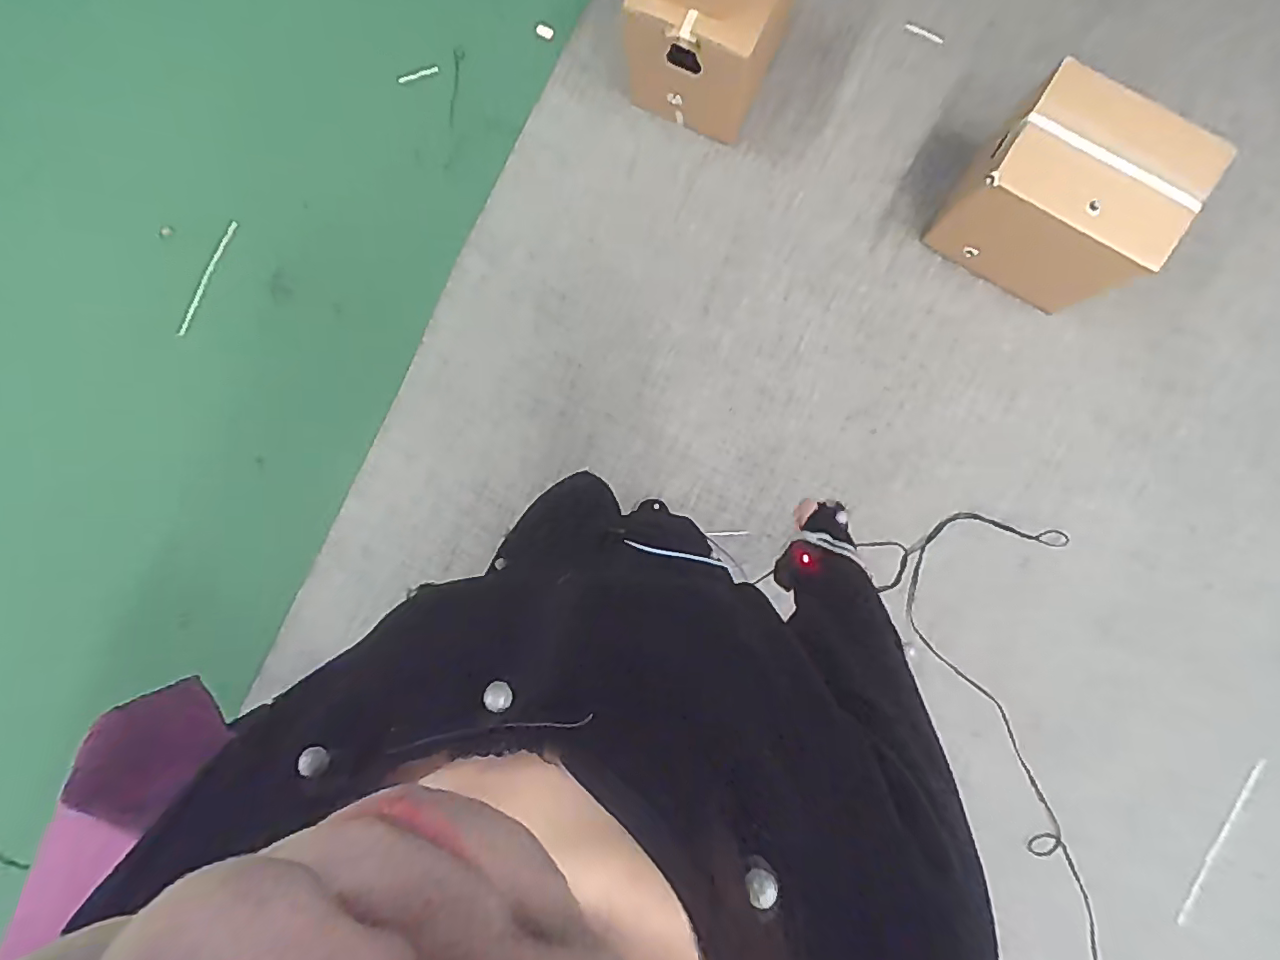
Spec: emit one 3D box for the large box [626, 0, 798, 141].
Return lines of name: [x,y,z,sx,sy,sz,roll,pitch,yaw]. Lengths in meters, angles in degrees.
large box: [0.193,-1.162,1.338,0.320,0.320,0.408,26,90,3]

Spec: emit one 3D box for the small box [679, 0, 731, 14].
small box: [0.135,-1.108,1.095,0.179,0.176,0.168,24,90,5]
